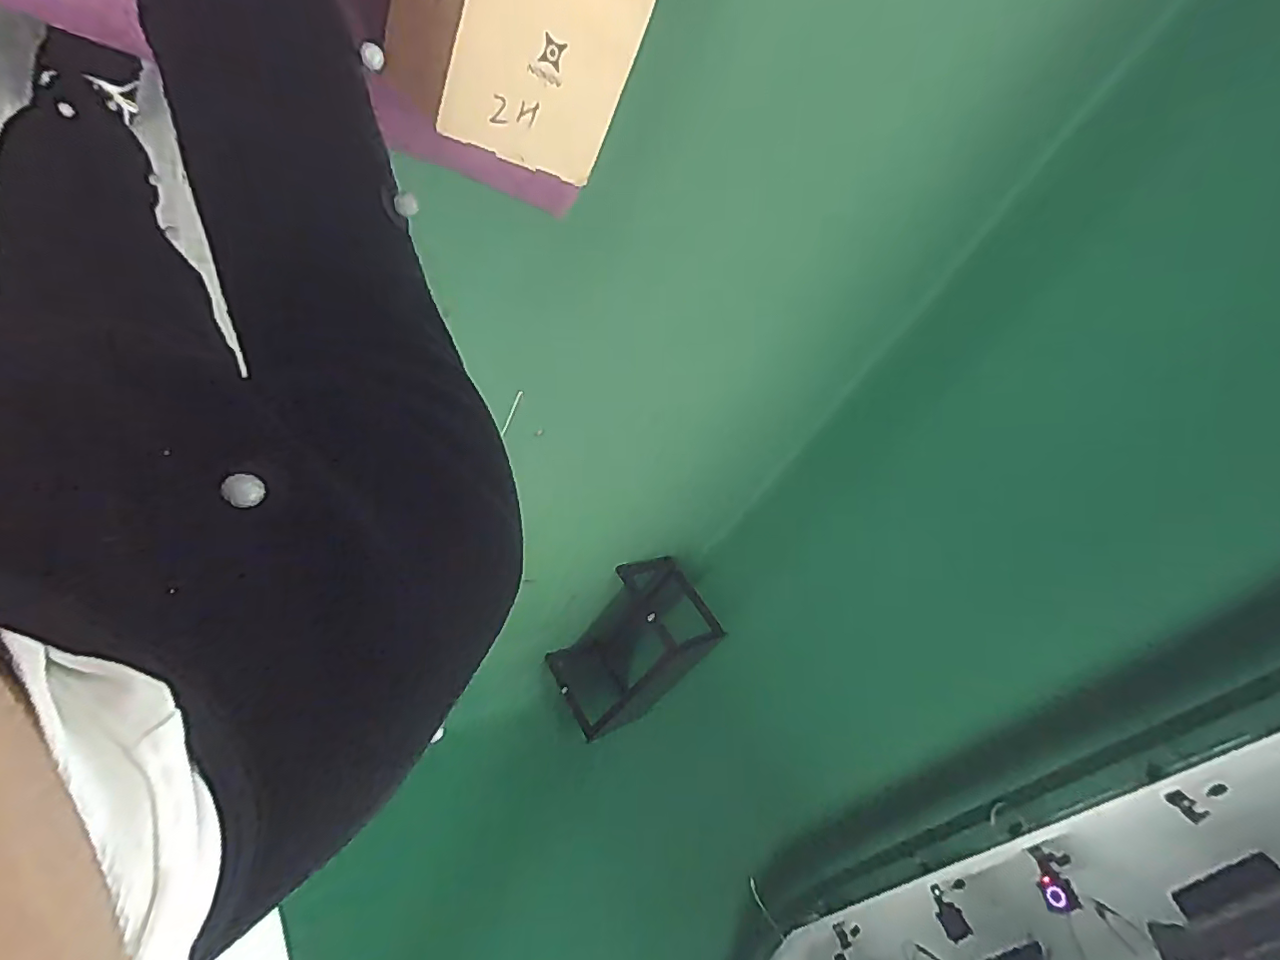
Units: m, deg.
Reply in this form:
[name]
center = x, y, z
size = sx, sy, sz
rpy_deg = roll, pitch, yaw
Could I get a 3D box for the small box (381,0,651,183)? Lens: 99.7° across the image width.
[small box]
center = -0.127, -0.430, 0.515
size = 0.168, 0.176, 0.179
rpy_deg = -4, 138, -44
